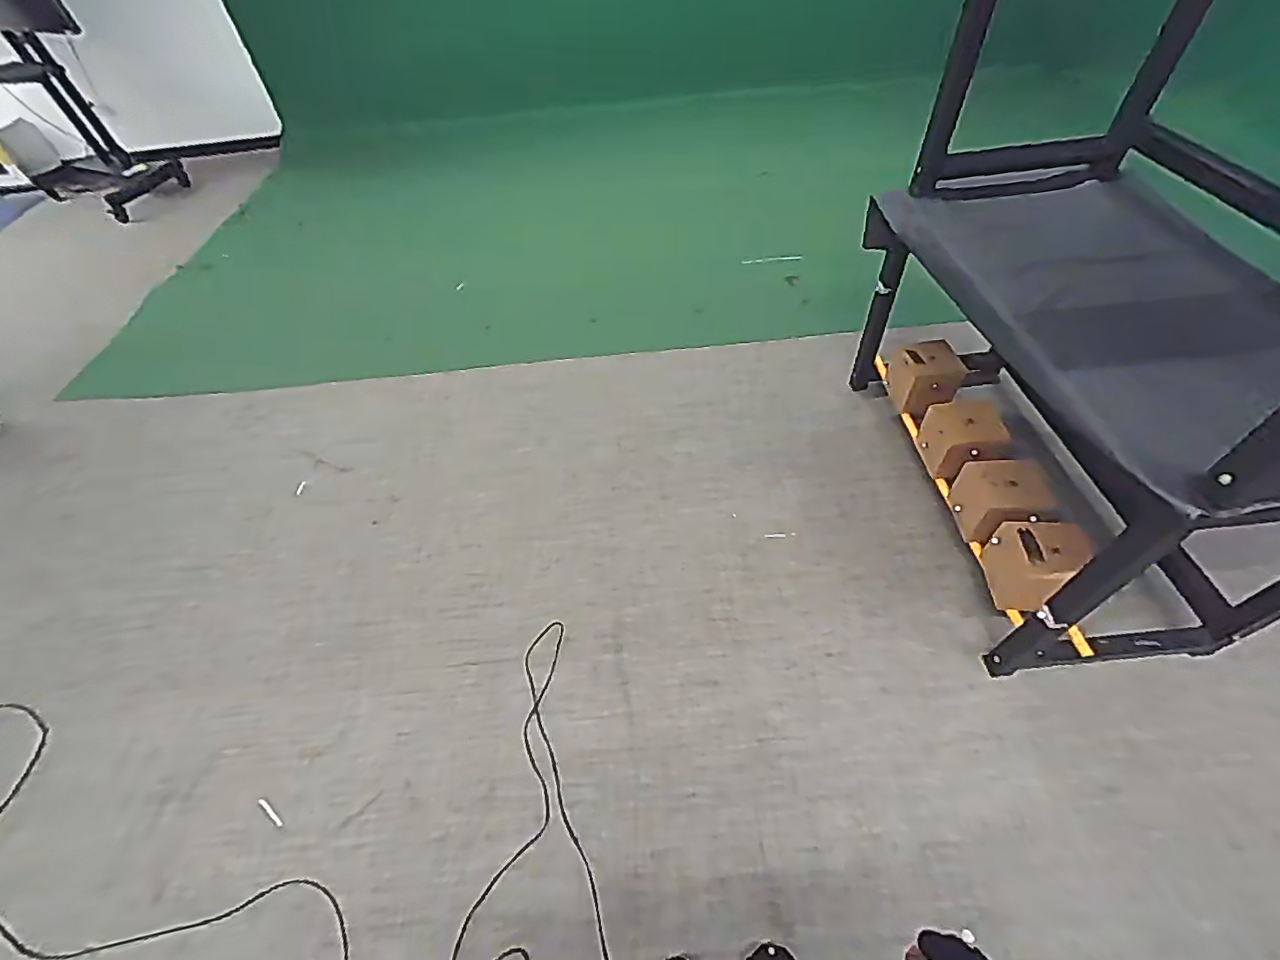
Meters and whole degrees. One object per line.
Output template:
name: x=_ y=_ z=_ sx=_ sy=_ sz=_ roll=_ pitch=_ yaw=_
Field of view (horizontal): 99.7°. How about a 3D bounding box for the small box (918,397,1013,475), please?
small box: x=0.995 y=-0.132 z=1.669 sx=0.179 sy=0.176 sz=0.168 roll=-6 pitch=51 yaw=4
